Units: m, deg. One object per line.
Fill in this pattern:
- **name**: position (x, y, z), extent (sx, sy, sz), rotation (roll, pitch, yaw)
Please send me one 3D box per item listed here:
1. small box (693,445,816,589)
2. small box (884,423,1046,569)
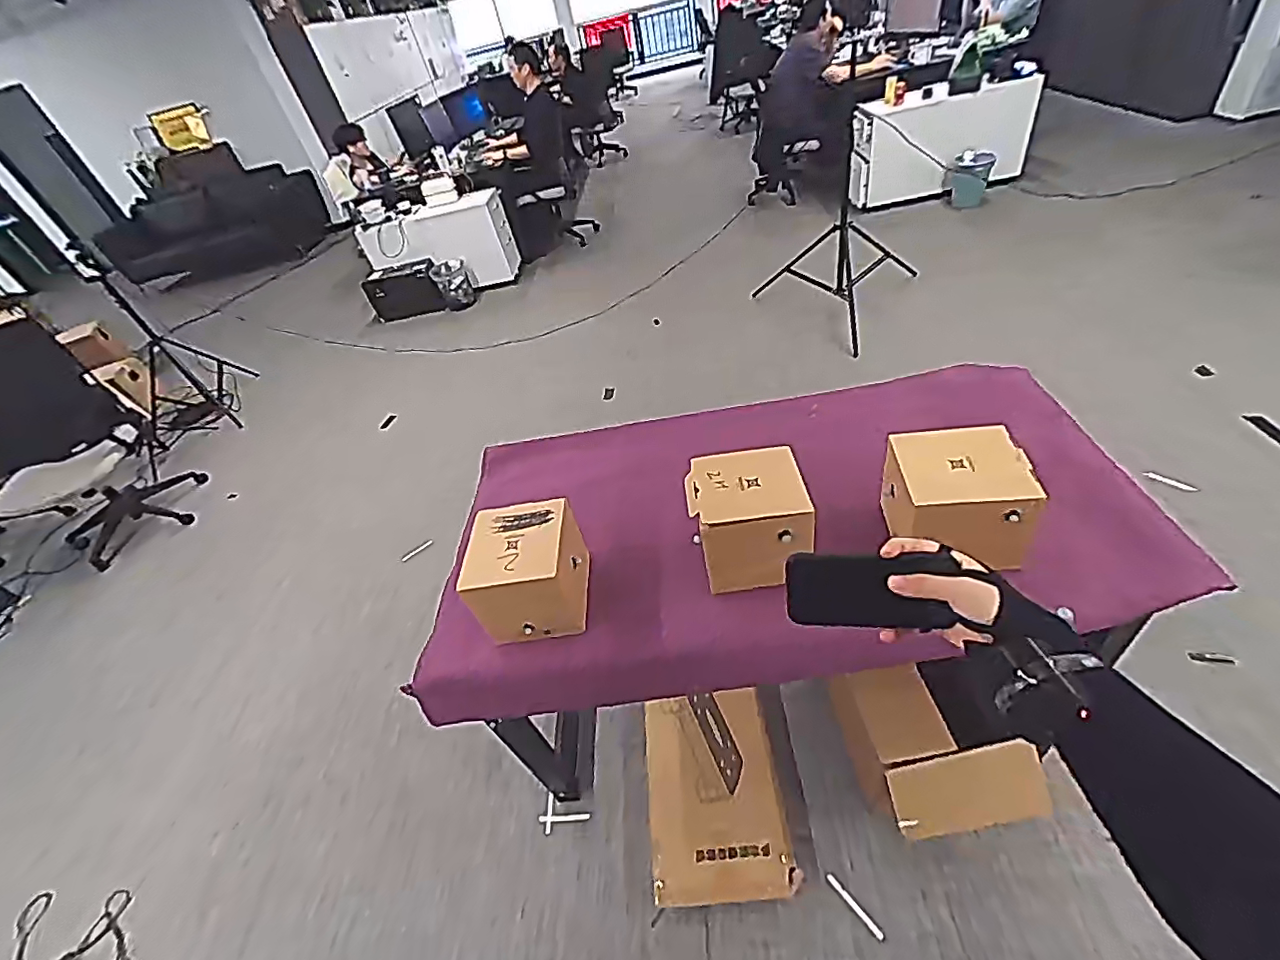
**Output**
- **small box**: position (0.192, 0.066, 0.927), extent (0.179, 0.176, 0.168), rotation (-10, 40, 6)
- **small box**: position (0.504, 0.030, 0.874), extent (0.179, 0.176, 0.168), rotation (-5, 43, 11)
